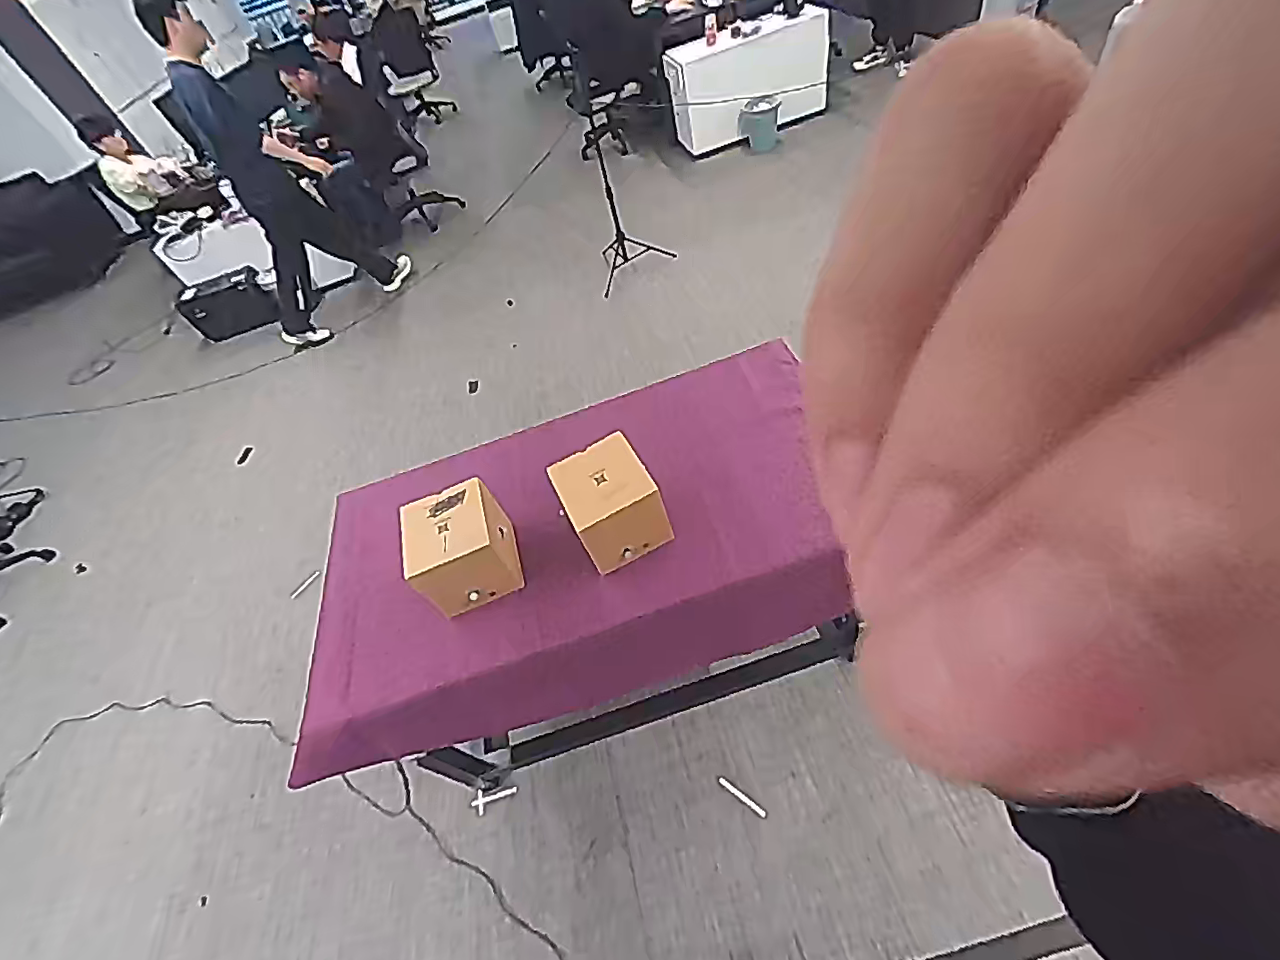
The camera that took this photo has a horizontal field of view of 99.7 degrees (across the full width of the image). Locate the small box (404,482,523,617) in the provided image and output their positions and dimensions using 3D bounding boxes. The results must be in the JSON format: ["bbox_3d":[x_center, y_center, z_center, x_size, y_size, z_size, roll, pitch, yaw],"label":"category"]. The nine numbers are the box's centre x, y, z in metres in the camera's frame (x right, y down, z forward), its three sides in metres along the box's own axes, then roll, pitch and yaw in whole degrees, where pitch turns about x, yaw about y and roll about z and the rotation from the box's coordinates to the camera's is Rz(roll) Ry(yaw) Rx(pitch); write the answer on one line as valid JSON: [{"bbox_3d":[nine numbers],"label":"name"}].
[{"bbox_3d":[-0.350,0.142,1.080,0.168,0.176,0.179,-23,50,-2],"label":"small box"}]

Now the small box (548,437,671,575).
[{"bbox_3d":[-0.058,0.053,1.068,0.168,0.176,0.179,-28,49,-6],"label":"small box"}]
